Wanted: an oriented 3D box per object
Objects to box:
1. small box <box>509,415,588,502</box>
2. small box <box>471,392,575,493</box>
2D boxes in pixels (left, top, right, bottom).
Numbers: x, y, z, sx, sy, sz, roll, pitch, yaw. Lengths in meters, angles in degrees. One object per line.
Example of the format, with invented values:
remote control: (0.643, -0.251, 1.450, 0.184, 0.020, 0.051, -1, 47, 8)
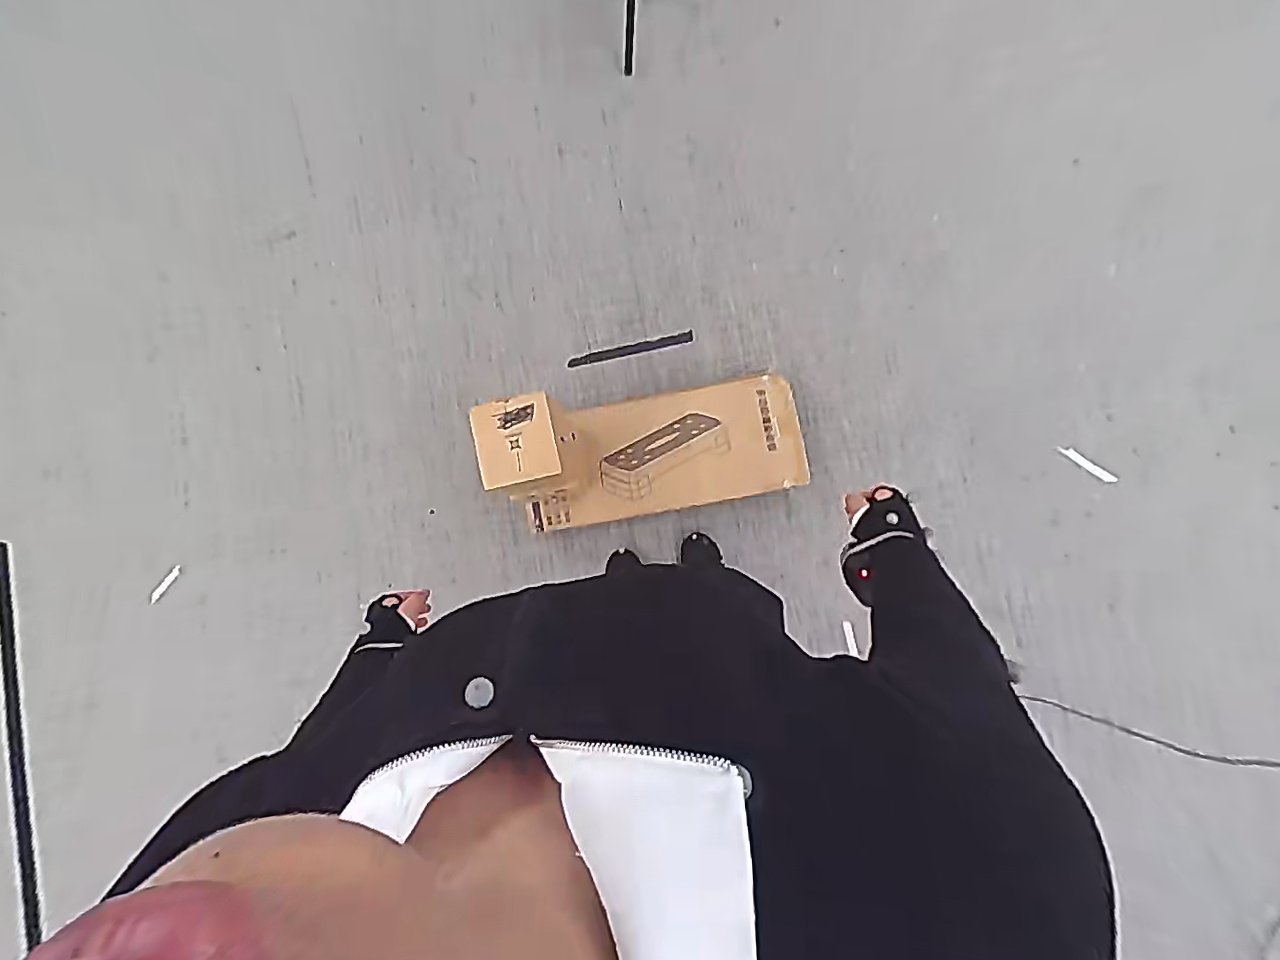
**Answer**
small box: (-0.233, -0.047, 1.340, 0.168, 0.176, 0.179, -11, 85, 3)
small box: (-0.249, -0.075, 1.178, 0.168, 0.176, 0.179, -12, 85, 3)
